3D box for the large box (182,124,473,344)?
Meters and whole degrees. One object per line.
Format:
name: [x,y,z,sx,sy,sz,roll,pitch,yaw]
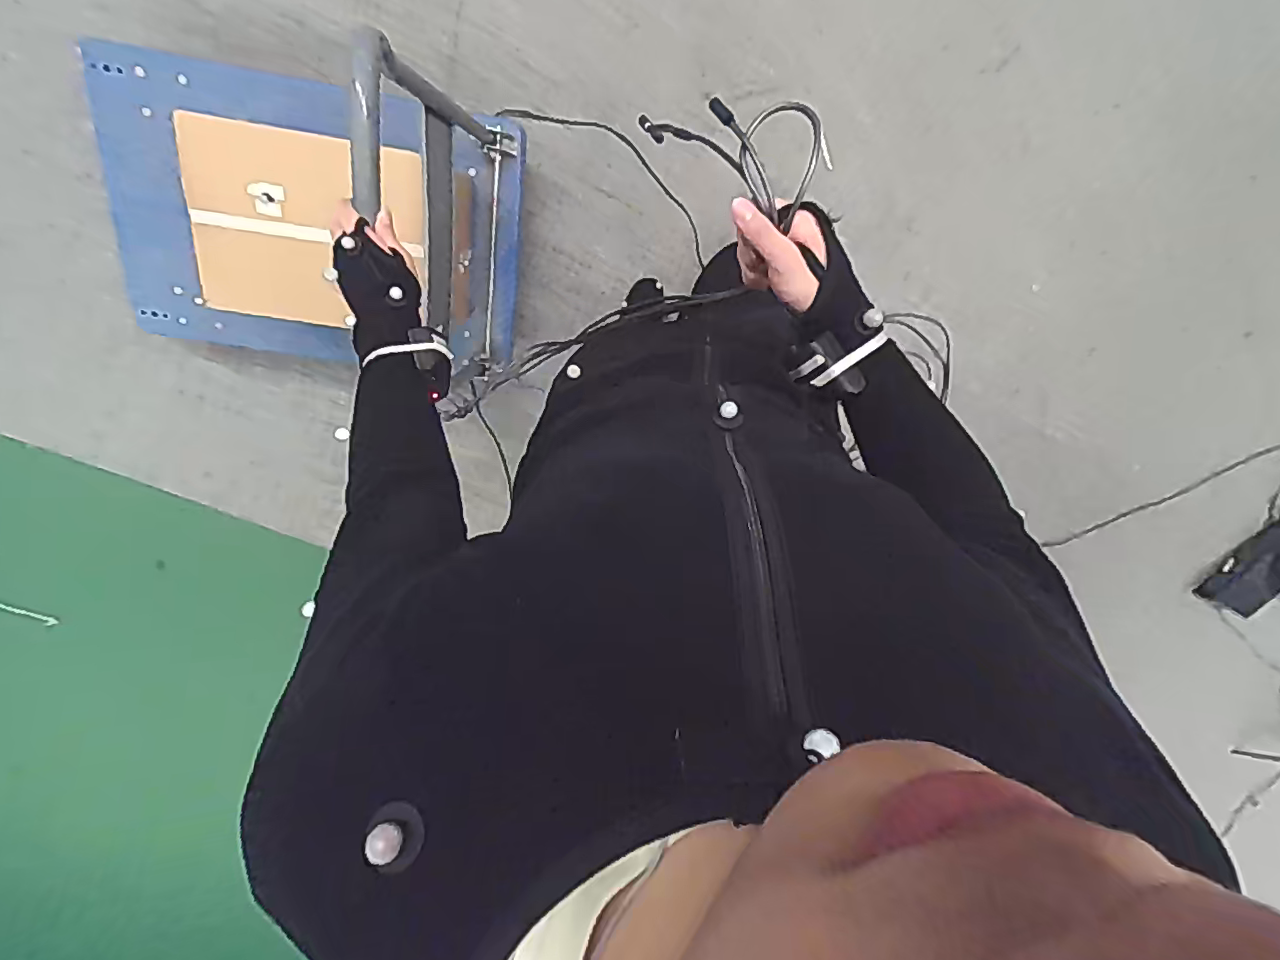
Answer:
large box: [-0.575,-0.480,1.090,0.408,0.320,0.320,8,113,-5]
